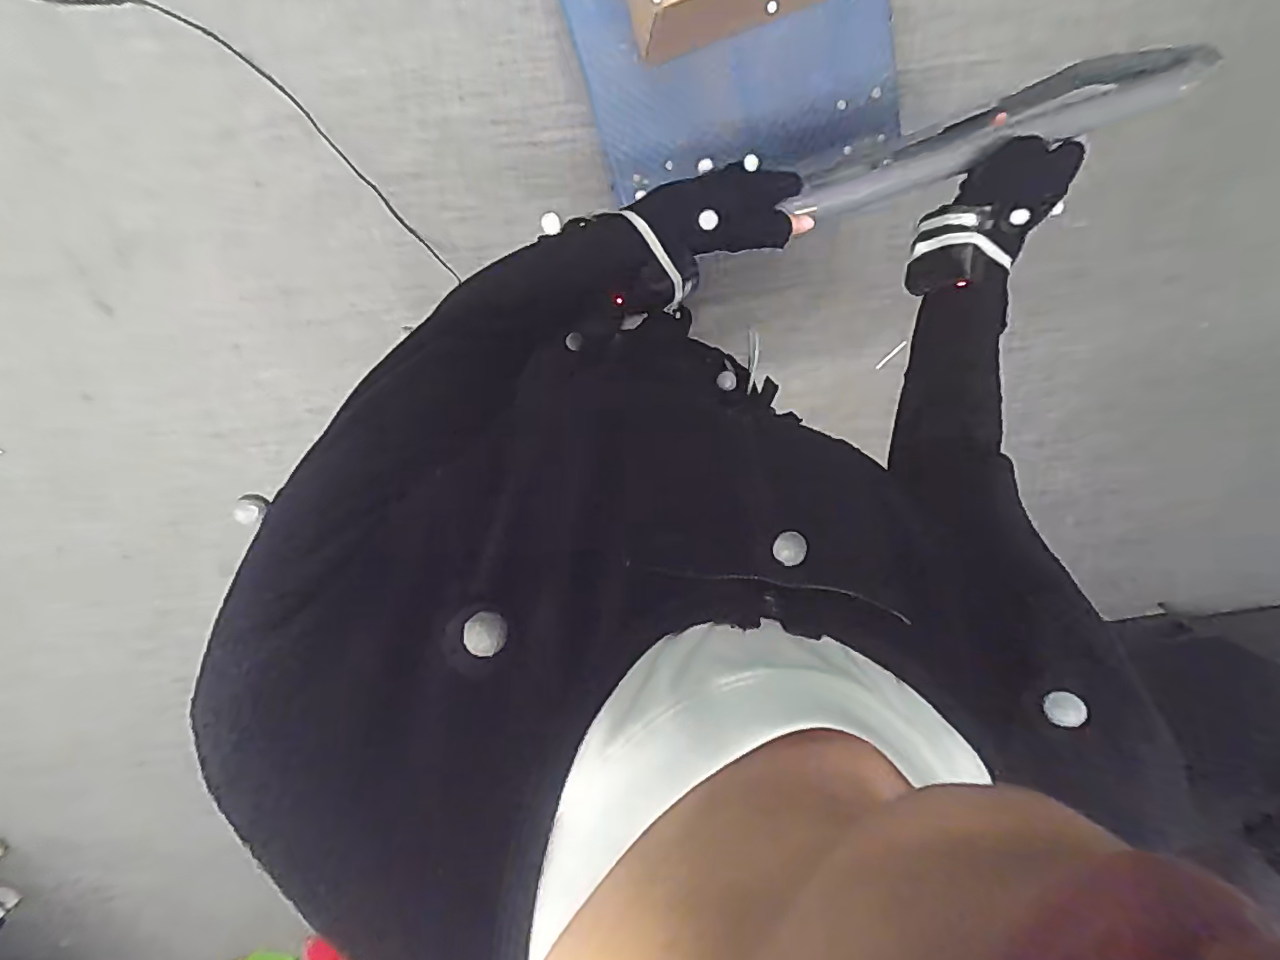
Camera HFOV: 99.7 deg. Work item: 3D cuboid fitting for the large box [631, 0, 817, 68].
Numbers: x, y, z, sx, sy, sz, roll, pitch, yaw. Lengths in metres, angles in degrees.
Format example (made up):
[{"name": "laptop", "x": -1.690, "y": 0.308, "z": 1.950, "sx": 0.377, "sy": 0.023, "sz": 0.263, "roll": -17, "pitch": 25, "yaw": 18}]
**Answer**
[{"name": "large box", "x": 0.166, "y": -0.905, "z": 0.812, "sx": 0.408, "sy": 0.320, "sz": 0.320, "roll": -19, "pitch": 114, "yaw": 5}]
